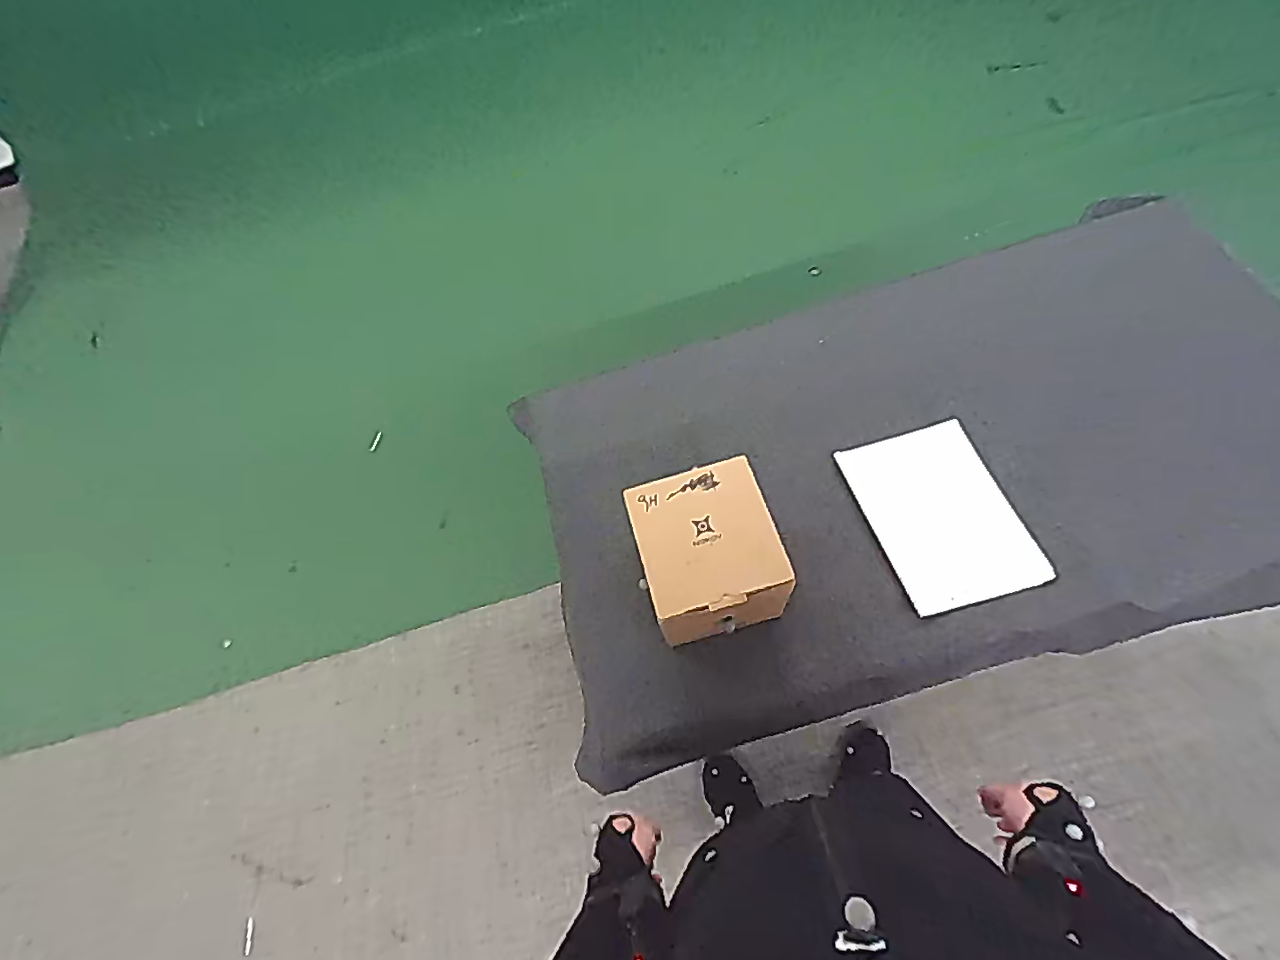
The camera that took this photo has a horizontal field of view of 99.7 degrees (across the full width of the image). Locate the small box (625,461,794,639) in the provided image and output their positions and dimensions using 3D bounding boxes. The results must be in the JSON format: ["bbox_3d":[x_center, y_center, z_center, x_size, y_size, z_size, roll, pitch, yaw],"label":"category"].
[{"bbox_3d":[0.090,0.104,0.724,0.168,0.176,0.179,-17,64,0],"label":"small box"}]
